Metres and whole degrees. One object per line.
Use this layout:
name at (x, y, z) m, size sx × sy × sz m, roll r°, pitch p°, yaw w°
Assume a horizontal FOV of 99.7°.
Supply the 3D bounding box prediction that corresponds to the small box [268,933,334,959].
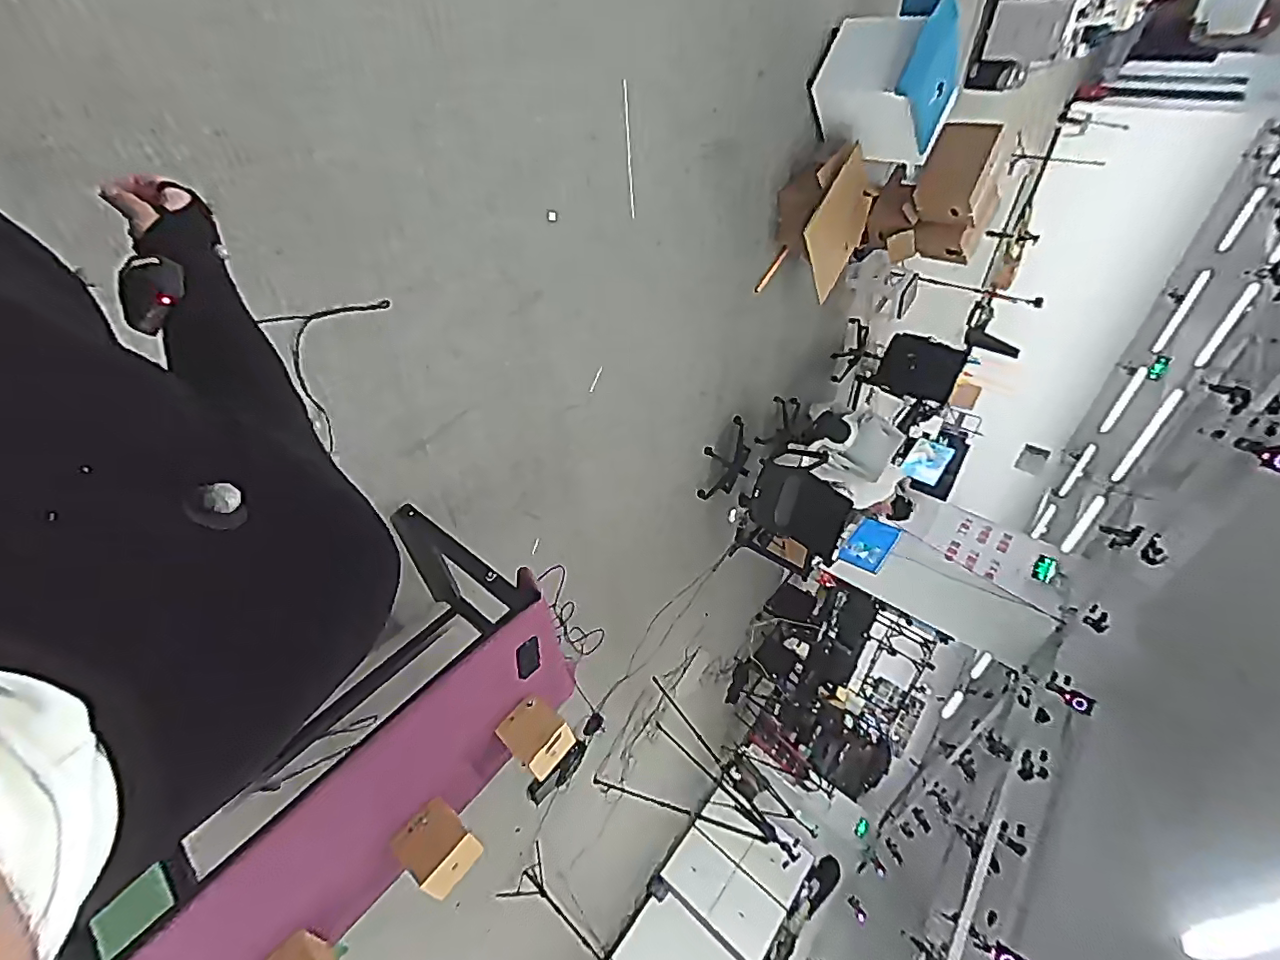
small box at (-0.850, 1.272, 1.333) m, size 0.168 × 0.176 × 0.179 m, roll -40°, pitch 143°, yaw -36°

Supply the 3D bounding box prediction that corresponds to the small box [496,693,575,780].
small box at (-0.342, 0.829, 1.760) m, size 0.168 × 0.176 × 0.179 m, roll -43°, pitch 145°, yaw -29°

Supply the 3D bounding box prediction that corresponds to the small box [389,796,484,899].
small box at (-0.589, 1.062, 1.571) m, size 0.168 × 0.176 × 0.179 m, roll -42°, pitch 144°, yaw -33°
